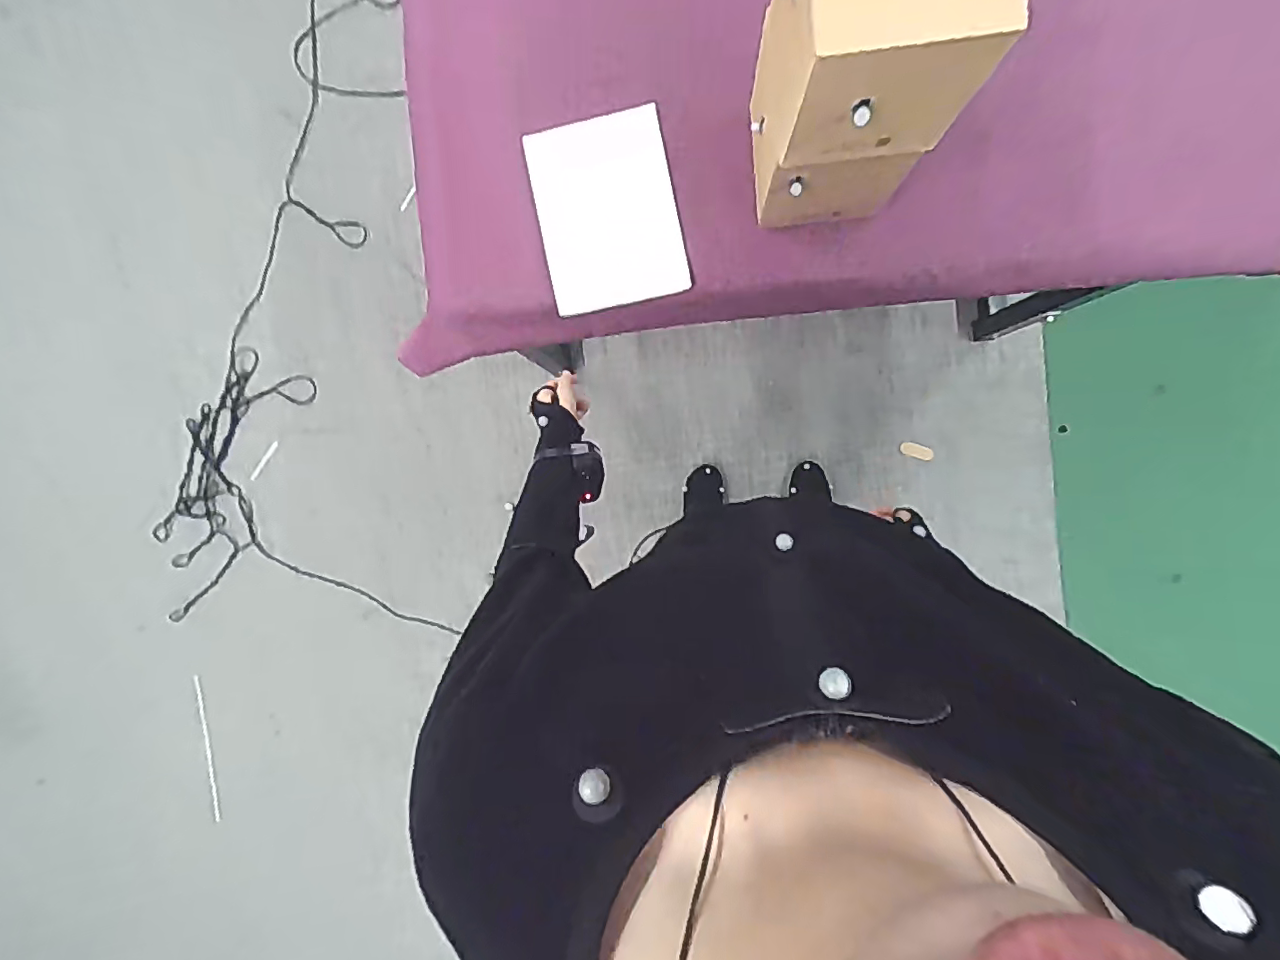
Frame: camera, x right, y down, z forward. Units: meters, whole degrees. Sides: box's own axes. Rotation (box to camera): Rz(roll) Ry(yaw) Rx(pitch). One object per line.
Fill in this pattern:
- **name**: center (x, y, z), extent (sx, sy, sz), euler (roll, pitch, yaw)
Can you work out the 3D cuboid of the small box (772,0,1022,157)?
- **small box**: center (0.224, -0.436, 0.513), extent (0.168, 0.176, 0.179), euler (-4, 90, 5)
